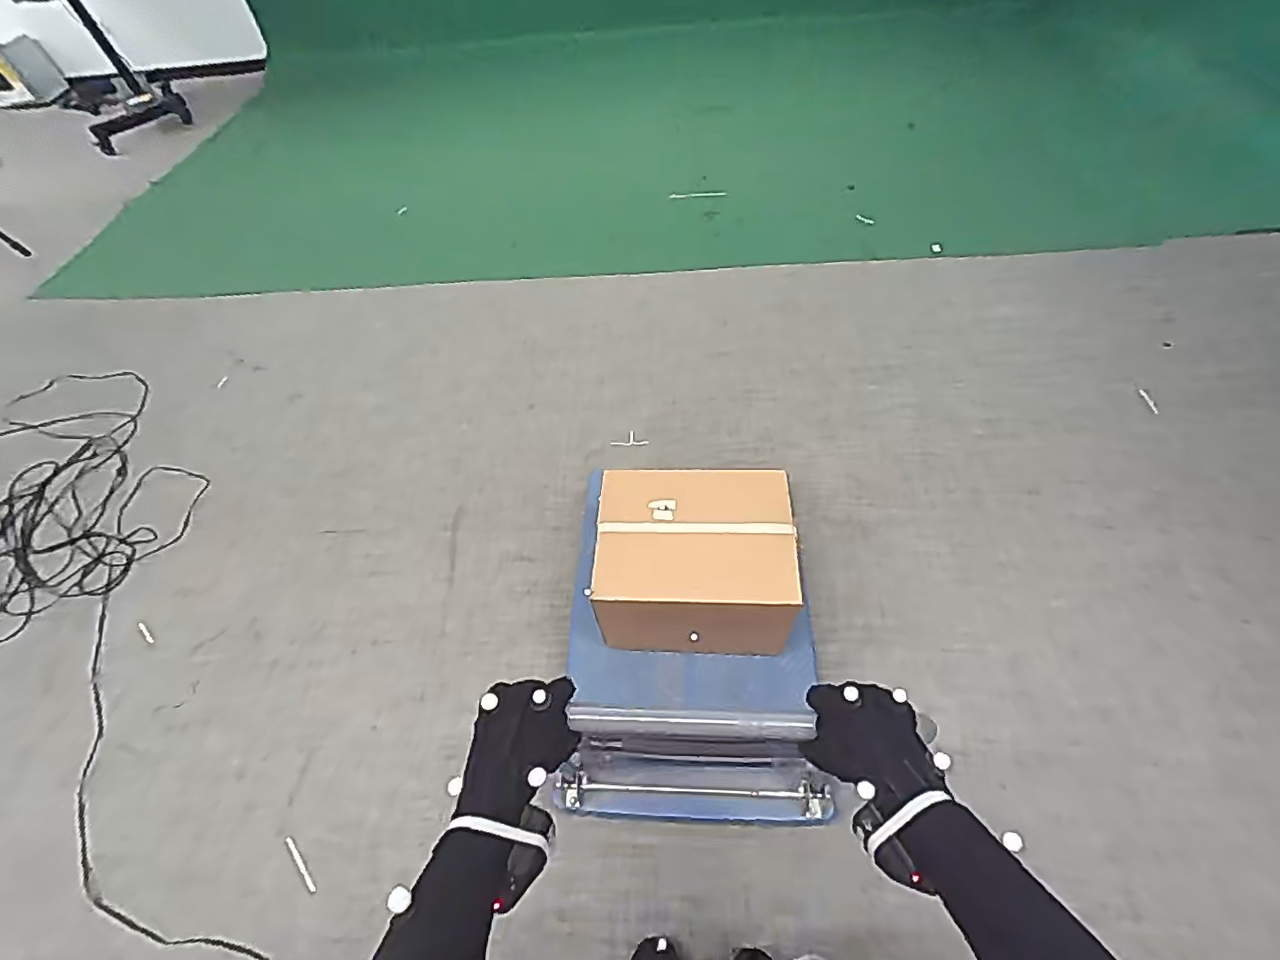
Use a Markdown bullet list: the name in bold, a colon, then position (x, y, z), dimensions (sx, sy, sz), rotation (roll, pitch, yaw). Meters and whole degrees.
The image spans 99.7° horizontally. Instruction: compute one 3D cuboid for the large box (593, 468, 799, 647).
- **large box**: position (0.124, 0.188, 1.244), dimensions (0.408, 0.320, 0.320), rotation (-1, 54, 6)
